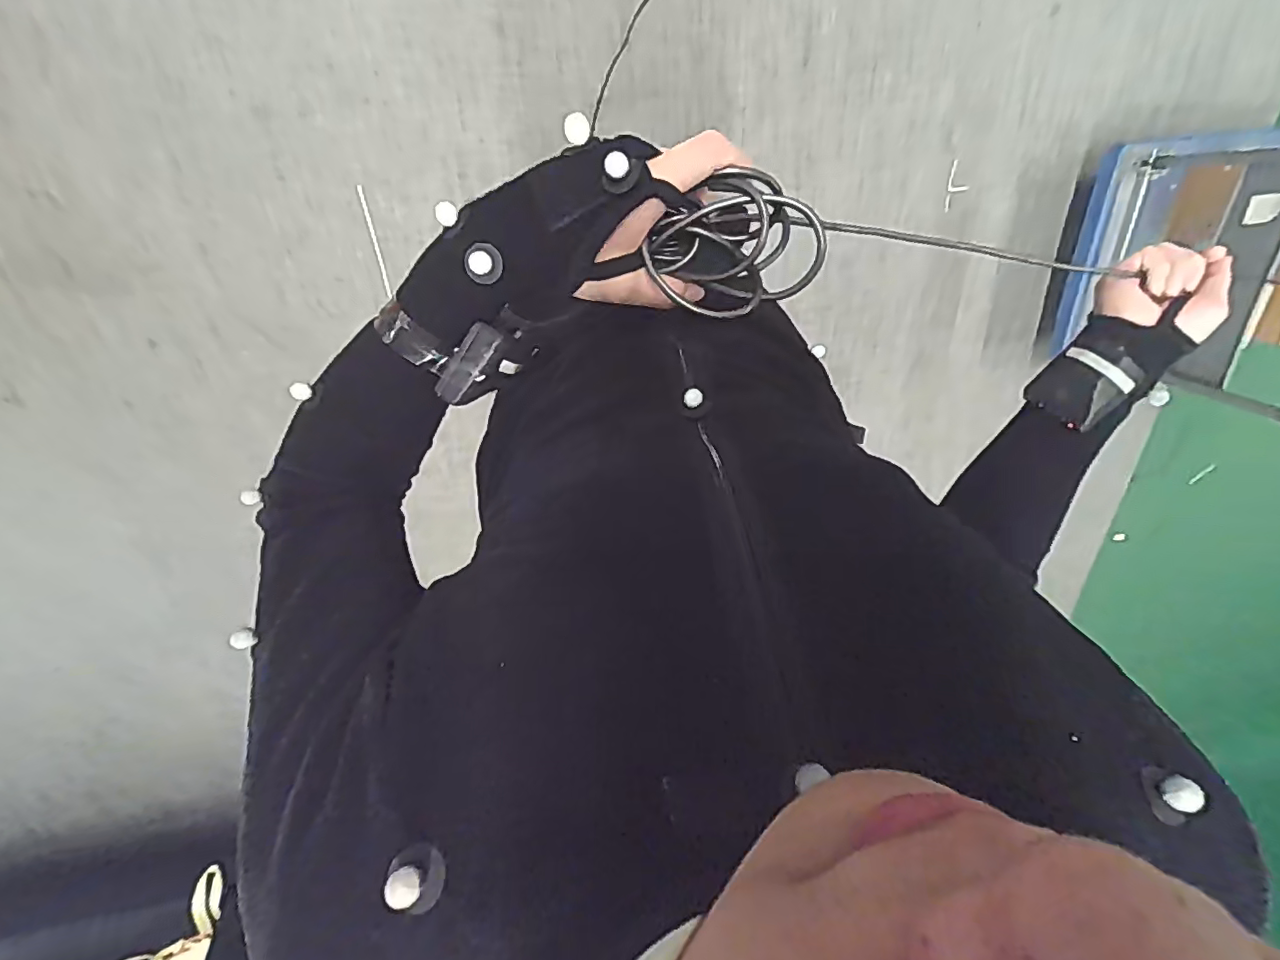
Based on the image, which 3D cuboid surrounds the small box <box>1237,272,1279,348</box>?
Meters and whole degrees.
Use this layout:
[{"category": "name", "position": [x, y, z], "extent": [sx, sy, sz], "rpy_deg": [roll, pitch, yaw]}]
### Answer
[{"category": "small box", "position": [1.799, -0.479, 1.504], "extent": [0.179, 0.176, 0.168], "rpy_deg": [-10, 117, -3]}]

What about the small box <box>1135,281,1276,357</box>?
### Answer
[{"category": "small box", "position": [1.532, -0.445, 1.477], "extent": [0.179, 0.176, 0.168], "rpy_deg": [-6, 118, -5]}]

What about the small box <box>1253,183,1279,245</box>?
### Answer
[{"category": "small box", "position": [1.764, -0.699, 1.387], "extent": [0.179, 0.176, 0.168], "rpy_deg": [-11, 119, -4]}]
